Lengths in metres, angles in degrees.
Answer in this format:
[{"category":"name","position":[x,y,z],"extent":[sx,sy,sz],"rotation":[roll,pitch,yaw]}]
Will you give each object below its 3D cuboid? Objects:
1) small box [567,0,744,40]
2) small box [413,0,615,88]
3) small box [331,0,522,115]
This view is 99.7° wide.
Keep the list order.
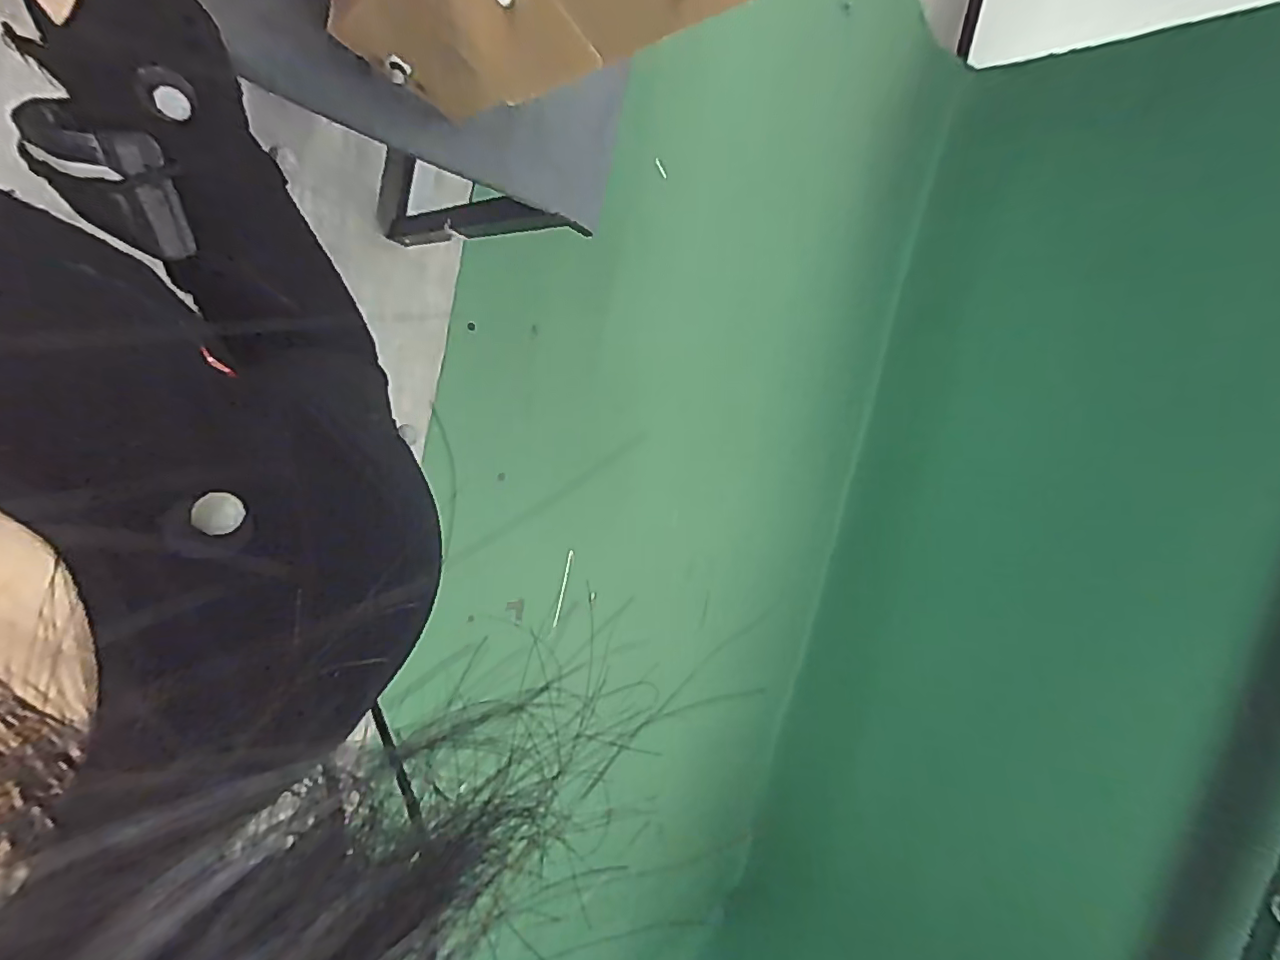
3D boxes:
[{"category":"small box","position":[0.006,-0.477,0.399],"extent":[0.179,0.176,0.168],"rotation":[27,82,-47]},{"category":"small box","position":[-0.114,-0.512,0.507],"extent":[0.179,0.176,0.168],"rotation":[25,84,-47]},{"category":"small box","position":[-0.226,-0.562,0.613],"extent":[0.168,0.176,0.179],"rotation":[9,97,-48]}]
